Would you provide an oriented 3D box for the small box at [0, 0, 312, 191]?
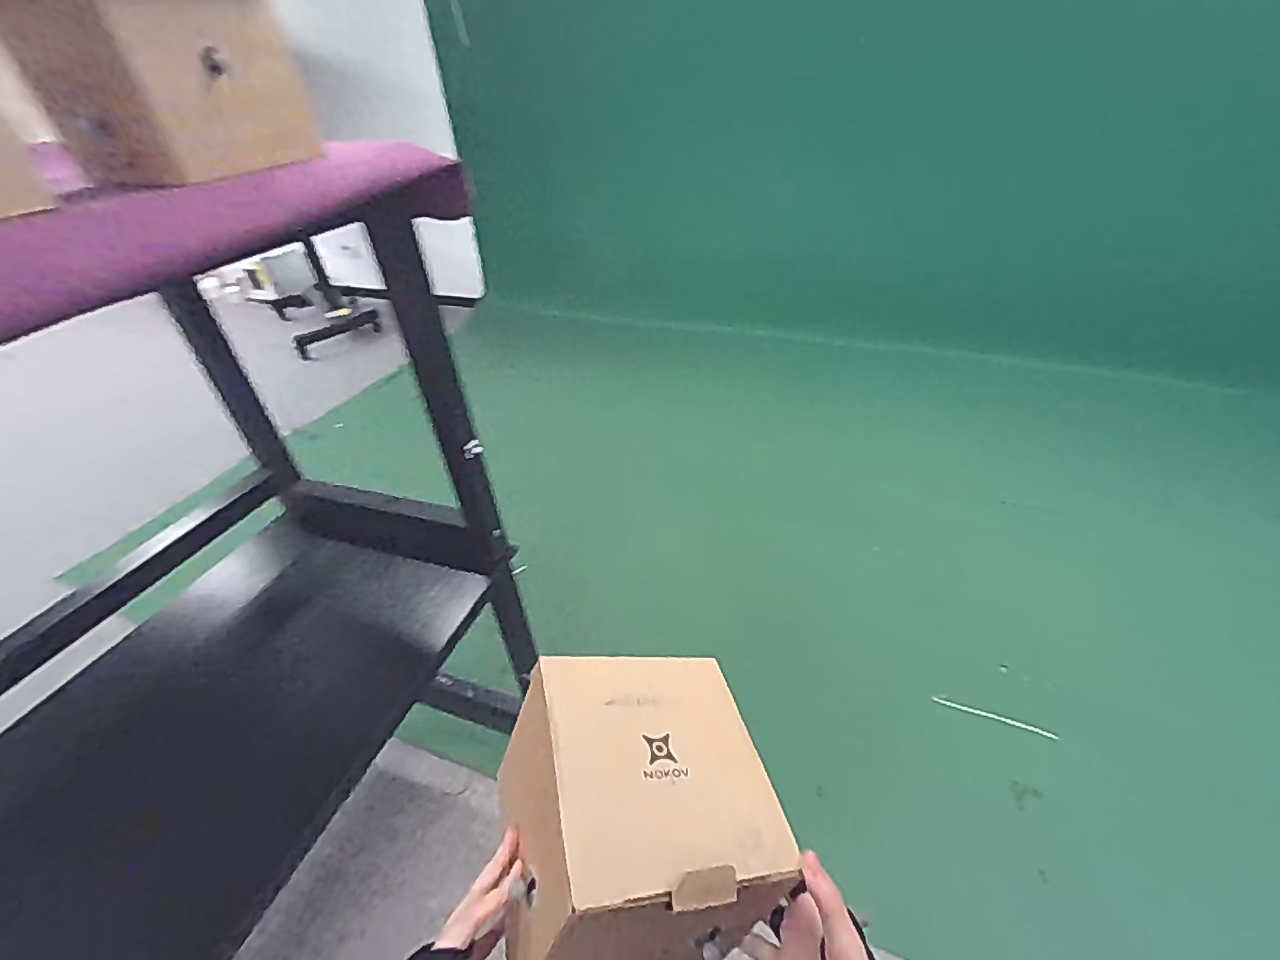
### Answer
[{"bbox_3d":[-0.478,-0.410,0.556,0.168,0.176,0.179,11,41,18],"label":"small box"}]
